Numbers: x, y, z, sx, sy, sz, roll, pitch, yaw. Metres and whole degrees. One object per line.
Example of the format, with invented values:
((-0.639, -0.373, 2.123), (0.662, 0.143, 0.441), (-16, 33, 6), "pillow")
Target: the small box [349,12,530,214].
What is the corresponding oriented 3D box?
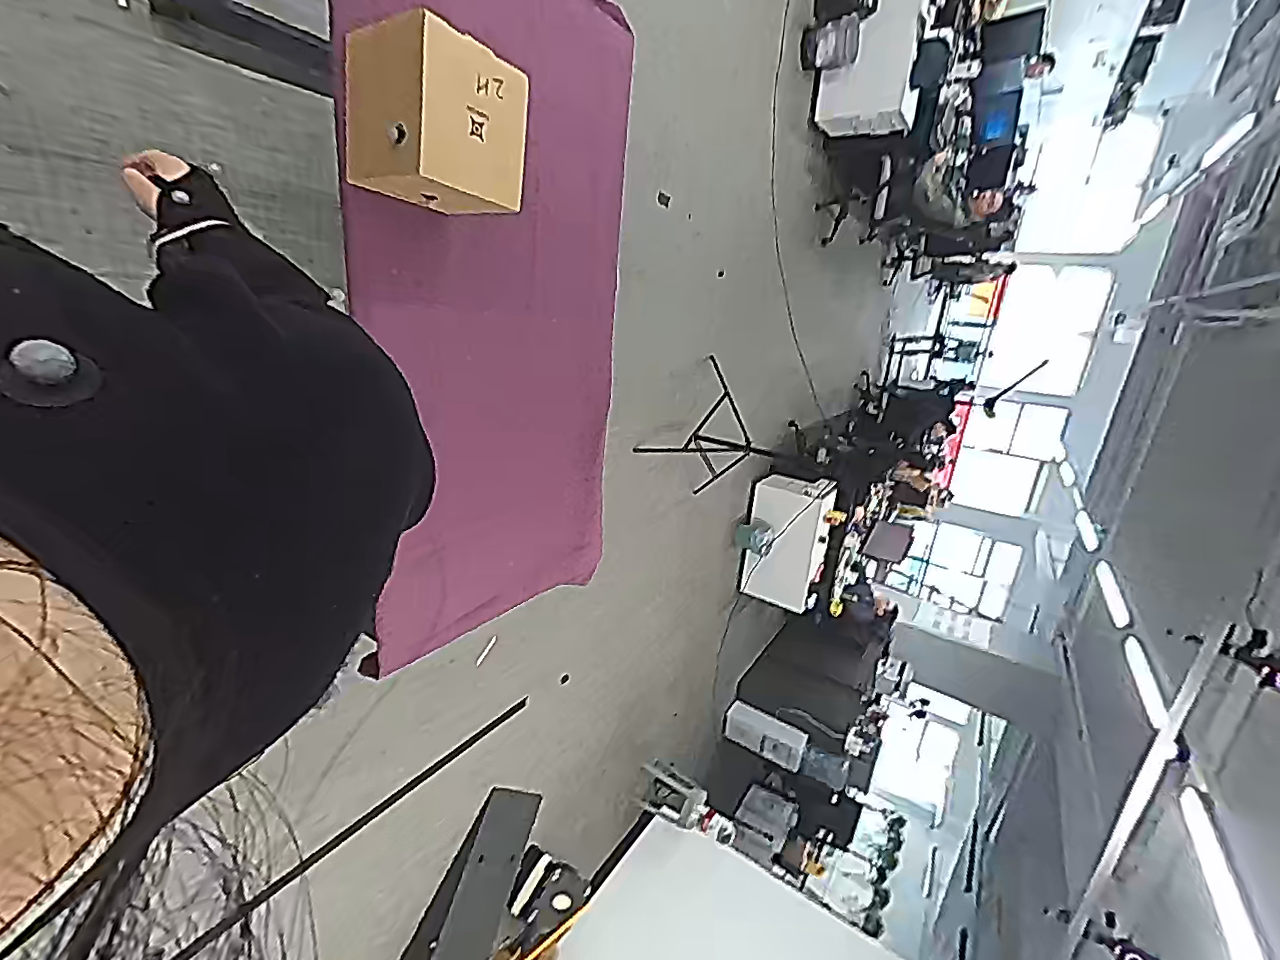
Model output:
((-0.274, -0.477, 0.738), (0.168, 0.176, 0.179), (-14, 115, -55), "small box")
